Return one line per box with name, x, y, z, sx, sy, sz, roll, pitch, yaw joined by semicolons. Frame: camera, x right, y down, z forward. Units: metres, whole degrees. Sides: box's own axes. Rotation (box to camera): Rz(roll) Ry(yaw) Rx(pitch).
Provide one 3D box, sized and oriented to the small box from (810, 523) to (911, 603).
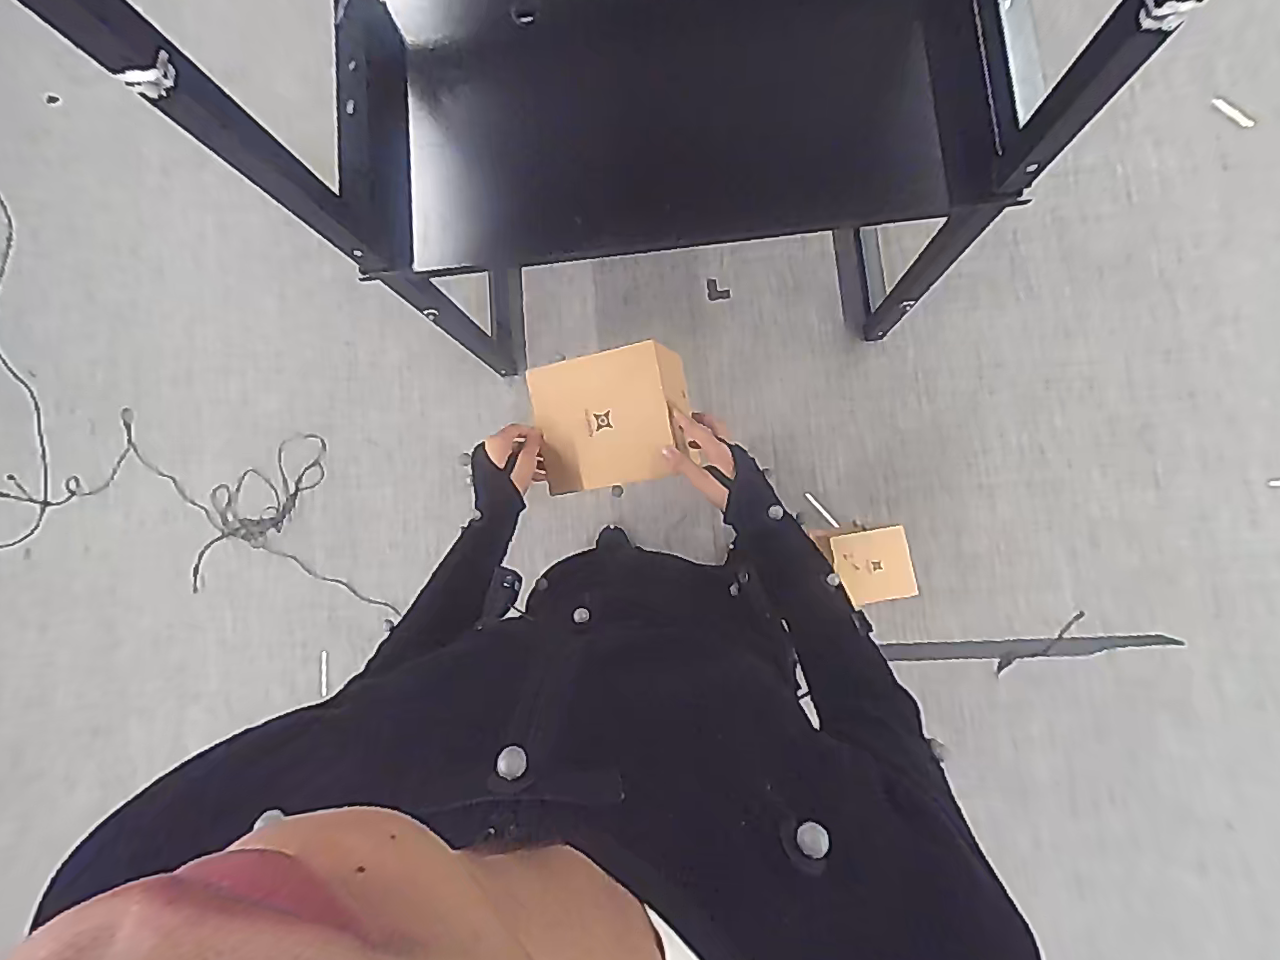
small box;0.540;0.200;1.346;0.179;0.176;0.168;-10;85;5
